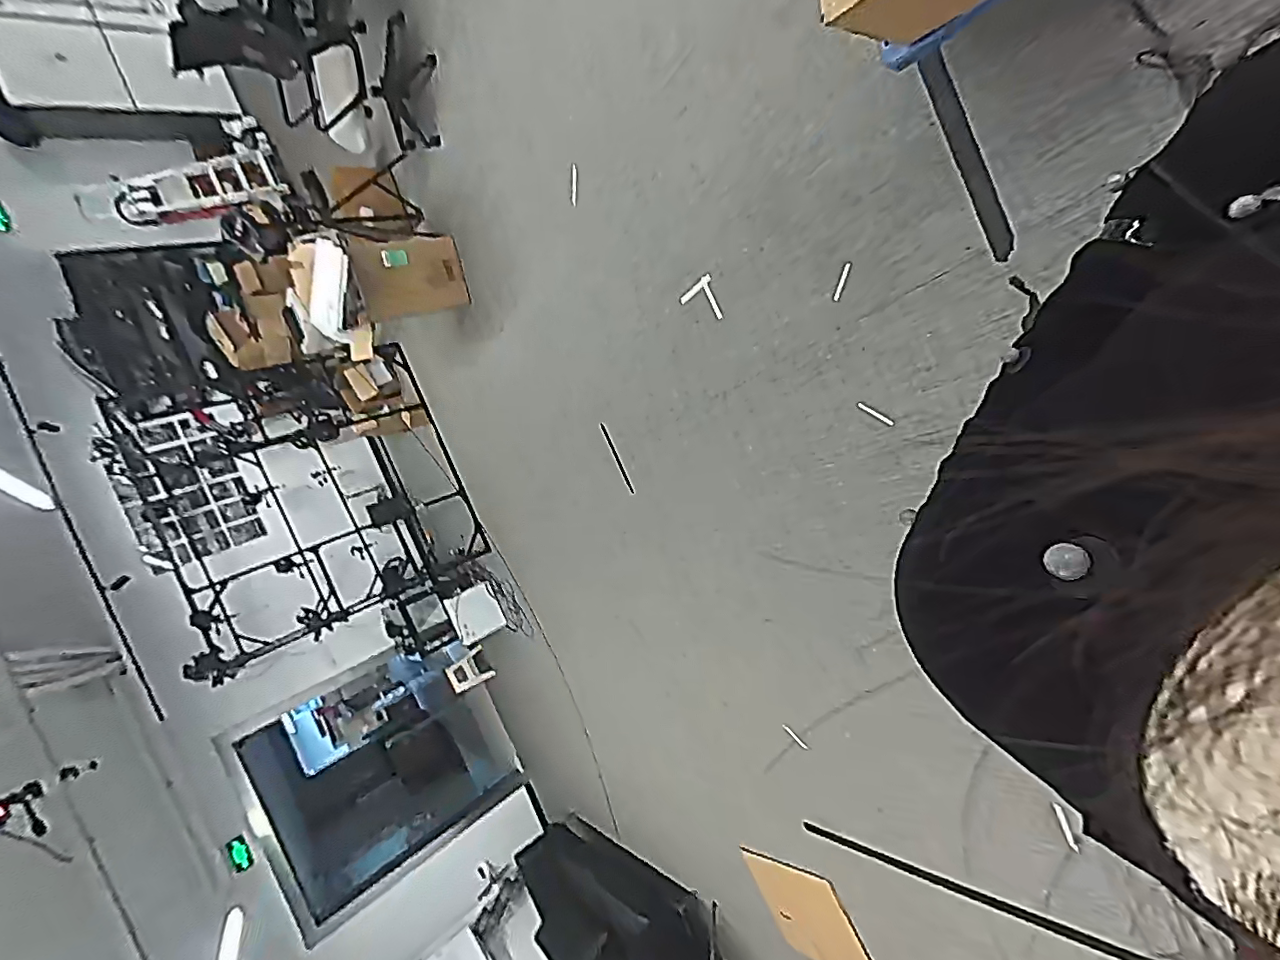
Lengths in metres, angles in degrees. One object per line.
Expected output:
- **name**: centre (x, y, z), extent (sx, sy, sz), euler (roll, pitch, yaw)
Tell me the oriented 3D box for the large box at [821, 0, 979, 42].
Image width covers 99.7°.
- **large box**: centre (0.509, -0.962, 0.813), extent (0.408, 0.320, 0.320), euler (3, 111, 53)
